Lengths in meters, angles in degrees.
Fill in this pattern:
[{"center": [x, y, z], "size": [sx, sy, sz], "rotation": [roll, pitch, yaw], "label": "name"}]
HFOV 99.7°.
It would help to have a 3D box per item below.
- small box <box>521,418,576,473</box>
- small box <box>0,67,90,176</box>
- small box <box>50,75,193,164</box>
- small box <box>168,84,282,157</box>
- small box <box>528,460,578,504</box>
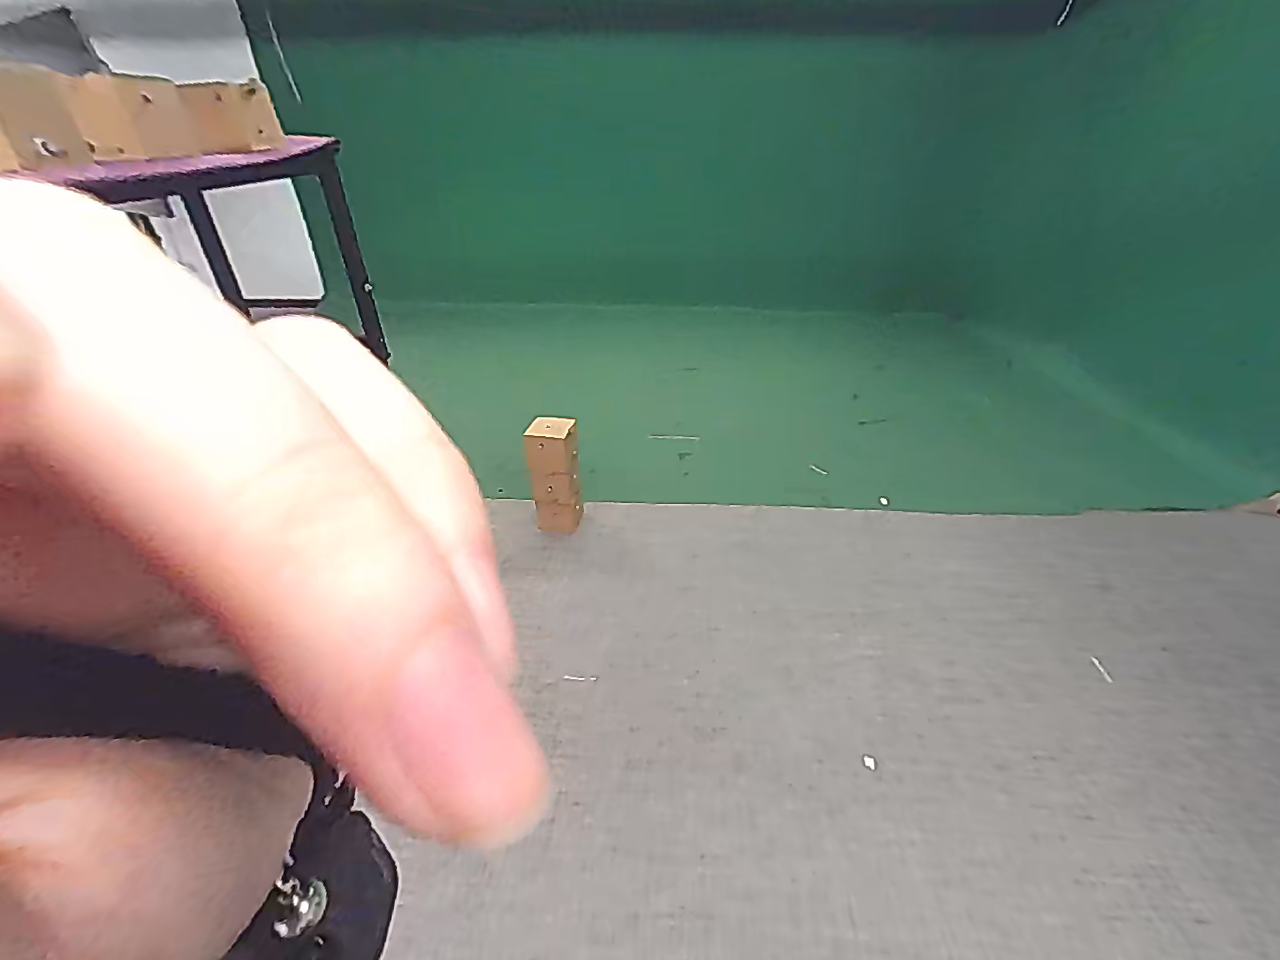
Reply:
[{"center": [-0.375, -0.142, 2.252], "size": [0.179, 0.176, 0.168], "rotation": [6, 34, 10], "label": "small box"}, {"center": [-1.222, -0.671, 1.013], "size": [0.179, 0.176, 0.168], "rotation": [0, 34, -2], "label": "small box"}, {"center": [-1.245, -0.864, 1.305], "size": [0.168, 0.176, 0.179], "rotation": [0, 33, 3], "label": "small box"}, {"center": [-1.222, -1.063, 1.605], "size": [0.179, 0.176, 0.168], "rotation": [1, 35, 6], "label": "small box"}, {"center": [-0.373, -0.010, 2.354], "size": [0.168, 0.176, 0.179], "rotation": [4, 34, 8], "label": "small box"}]
